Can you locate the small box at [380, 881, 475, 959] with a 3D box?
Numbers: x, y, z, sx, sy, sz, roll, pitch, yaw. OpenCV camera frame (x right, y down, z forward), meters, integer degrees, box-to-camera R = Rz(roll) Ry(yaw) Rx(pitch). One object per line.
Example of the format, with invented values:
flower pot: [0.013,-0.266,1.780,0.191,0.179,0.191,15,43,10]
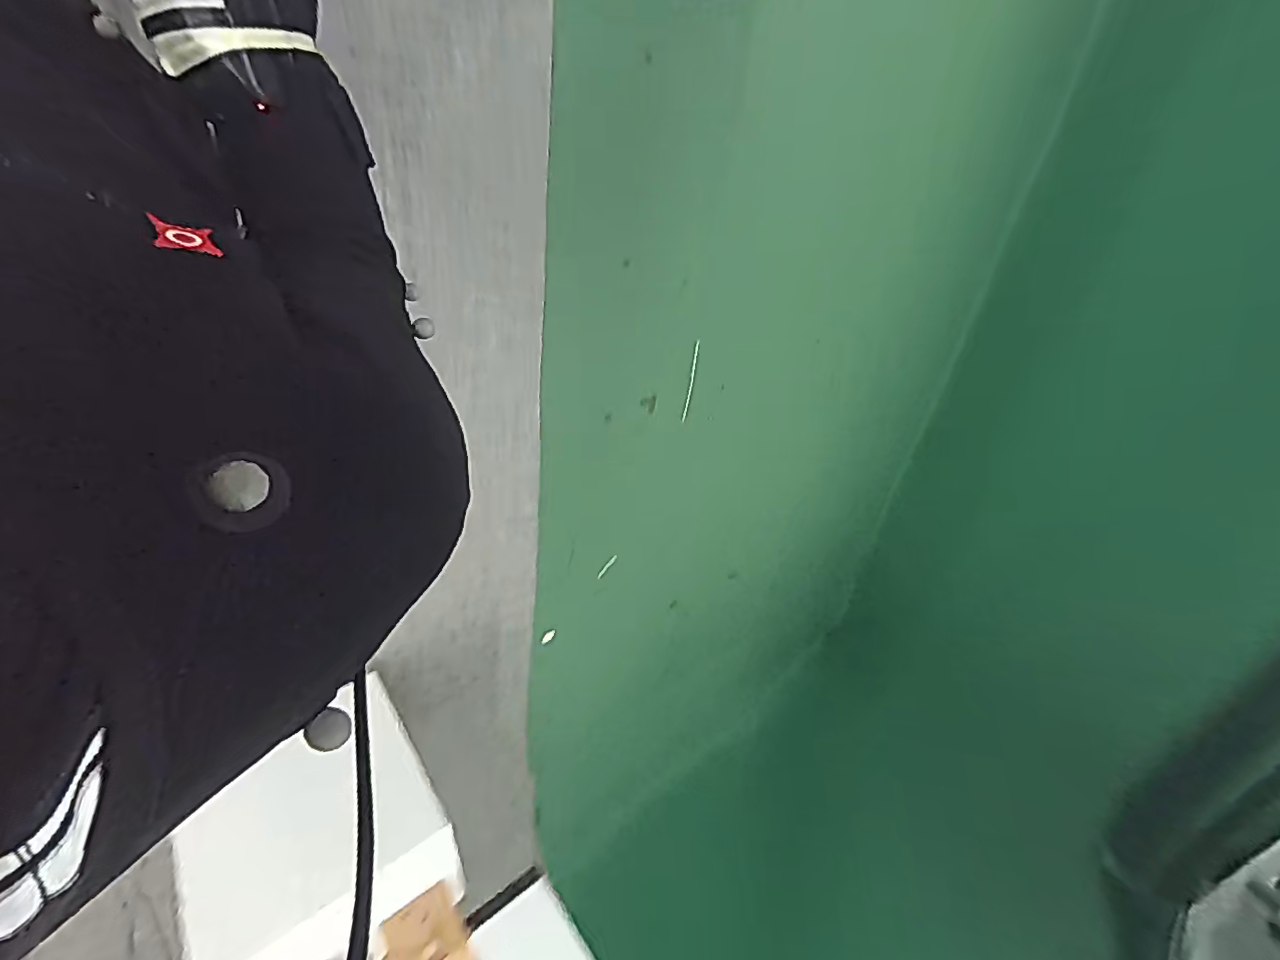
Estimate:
small box: [-0.529,1.162,1.354,0.168,0.176,0.179,-21,129,-33]
